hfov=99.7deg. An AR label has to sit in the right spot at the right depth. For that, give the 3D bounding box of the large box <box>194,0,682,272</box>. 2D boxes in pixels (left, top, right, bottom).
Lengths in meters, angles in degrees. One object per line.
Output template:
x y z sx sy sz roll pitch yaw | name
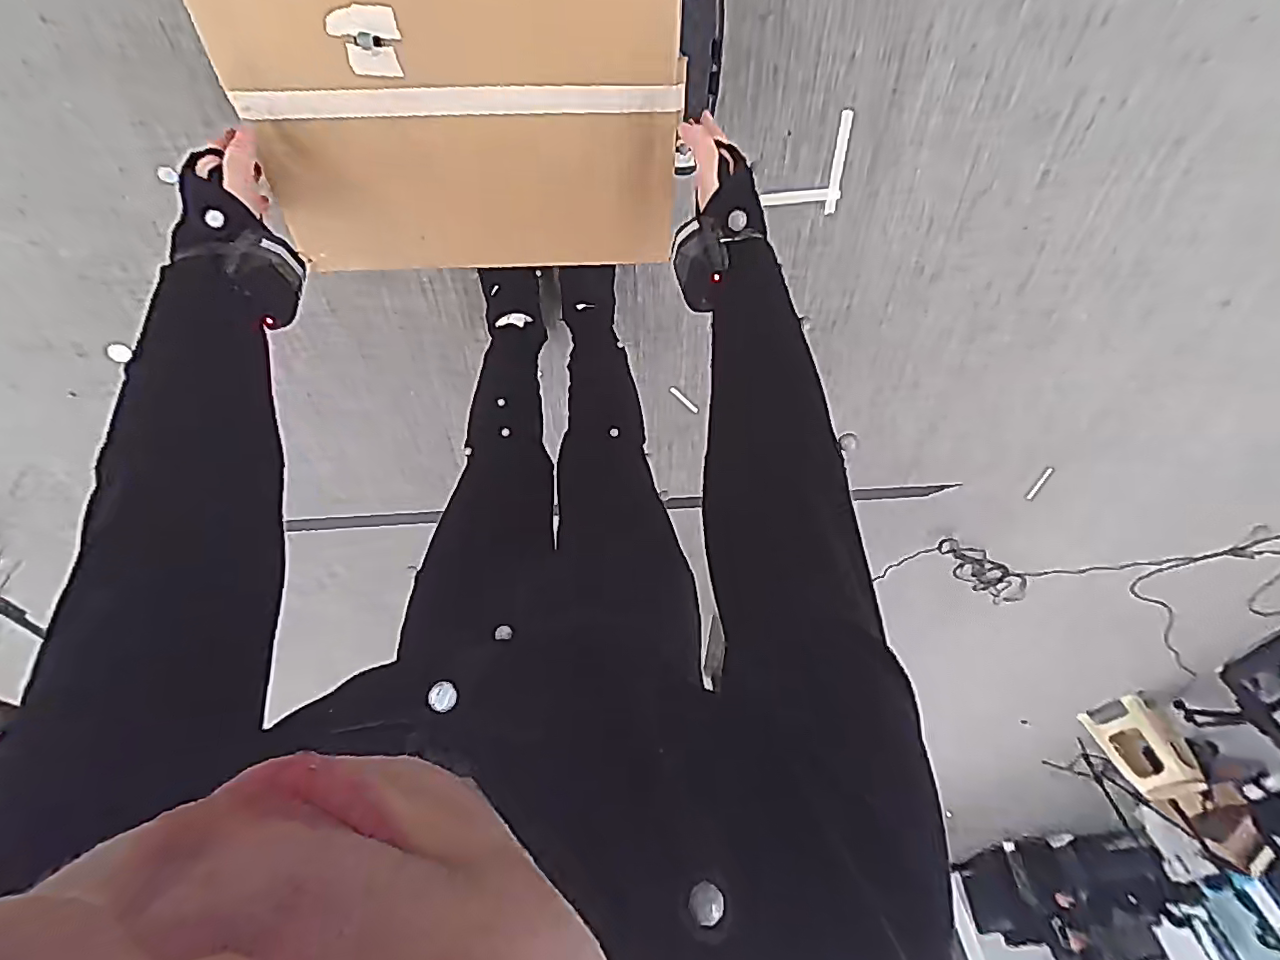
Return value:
-0.170 -0.452 0.597 0.408 0.320 0.320 -3 134 -3 | large box

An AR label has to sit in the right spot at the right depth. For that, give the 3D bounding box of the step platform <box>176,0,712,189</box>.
-0.243 -0.604 0.775 0.684 0.204 0.286 1 135 -7 | step platform
